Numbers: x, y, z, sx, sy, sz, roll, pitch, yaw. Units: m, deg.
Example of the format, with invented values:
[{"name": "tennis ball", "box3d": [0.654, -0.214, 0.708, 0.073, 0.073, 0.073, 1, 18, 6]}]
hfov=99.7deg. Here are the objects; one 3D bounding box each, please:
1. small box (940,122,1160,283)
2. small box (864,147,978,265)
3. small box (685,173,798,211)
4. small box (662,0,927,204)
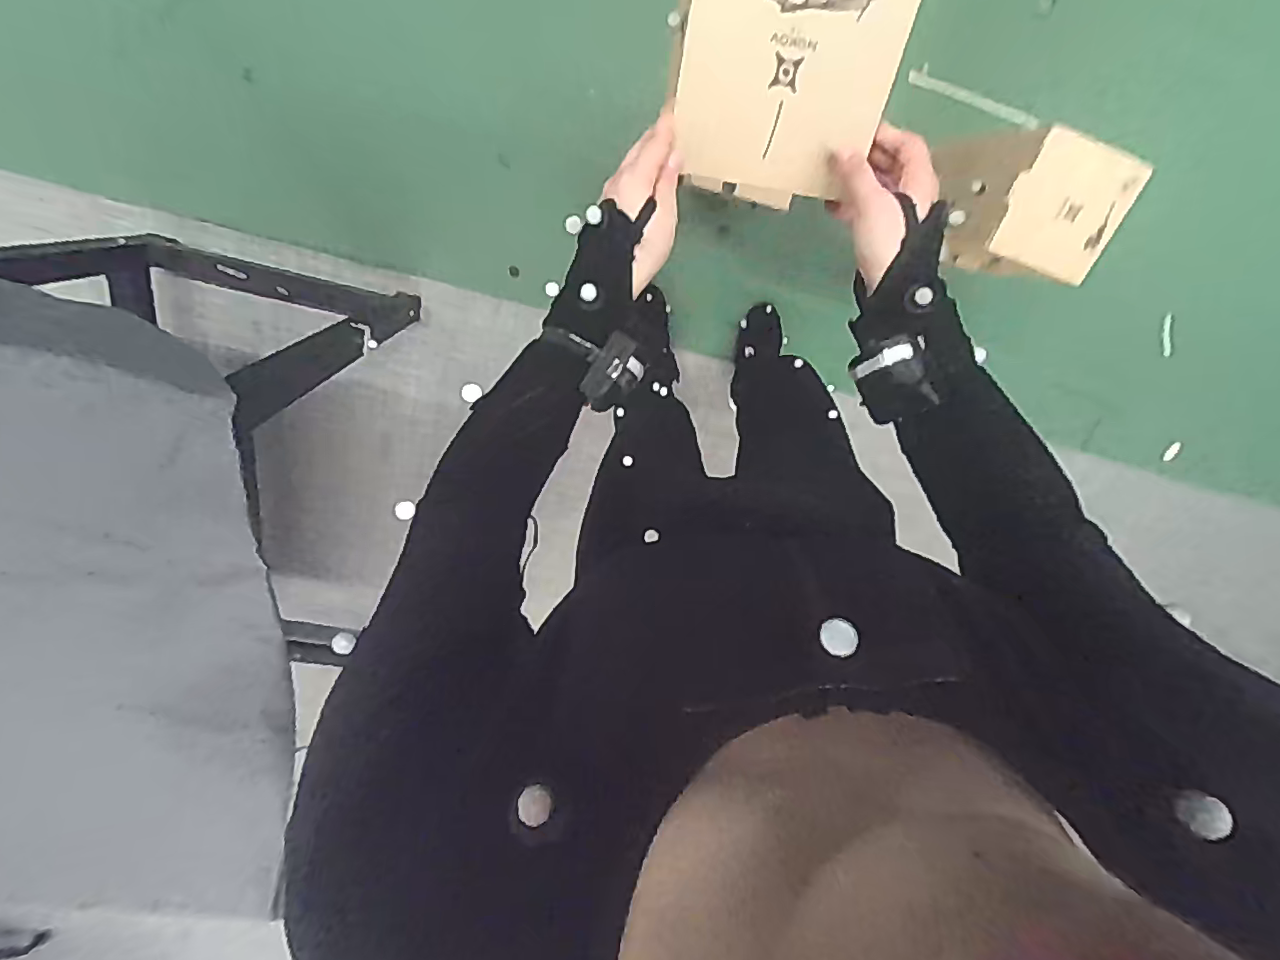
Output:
[{"name": "small box", "box3d": [0.615, -0.424, 0.842, 0.179, 0.176, 0.168, 16, 116, -10]}, {"name": "small box", "box3d": [0.612, -0.575, 1.134, 0.179, 0.176, 0.168, 16, 117, -12]}, {"name": "small box", "box3d": [0.187, -0.574, 0.928, 0.179, 0.176, 0.168, 11, 116, -7]}, {"name": "small box", "box3d": [0.113, -0.356, 0.462, 0.168, 0.176, 0.179, 7, 124, -5]}]
